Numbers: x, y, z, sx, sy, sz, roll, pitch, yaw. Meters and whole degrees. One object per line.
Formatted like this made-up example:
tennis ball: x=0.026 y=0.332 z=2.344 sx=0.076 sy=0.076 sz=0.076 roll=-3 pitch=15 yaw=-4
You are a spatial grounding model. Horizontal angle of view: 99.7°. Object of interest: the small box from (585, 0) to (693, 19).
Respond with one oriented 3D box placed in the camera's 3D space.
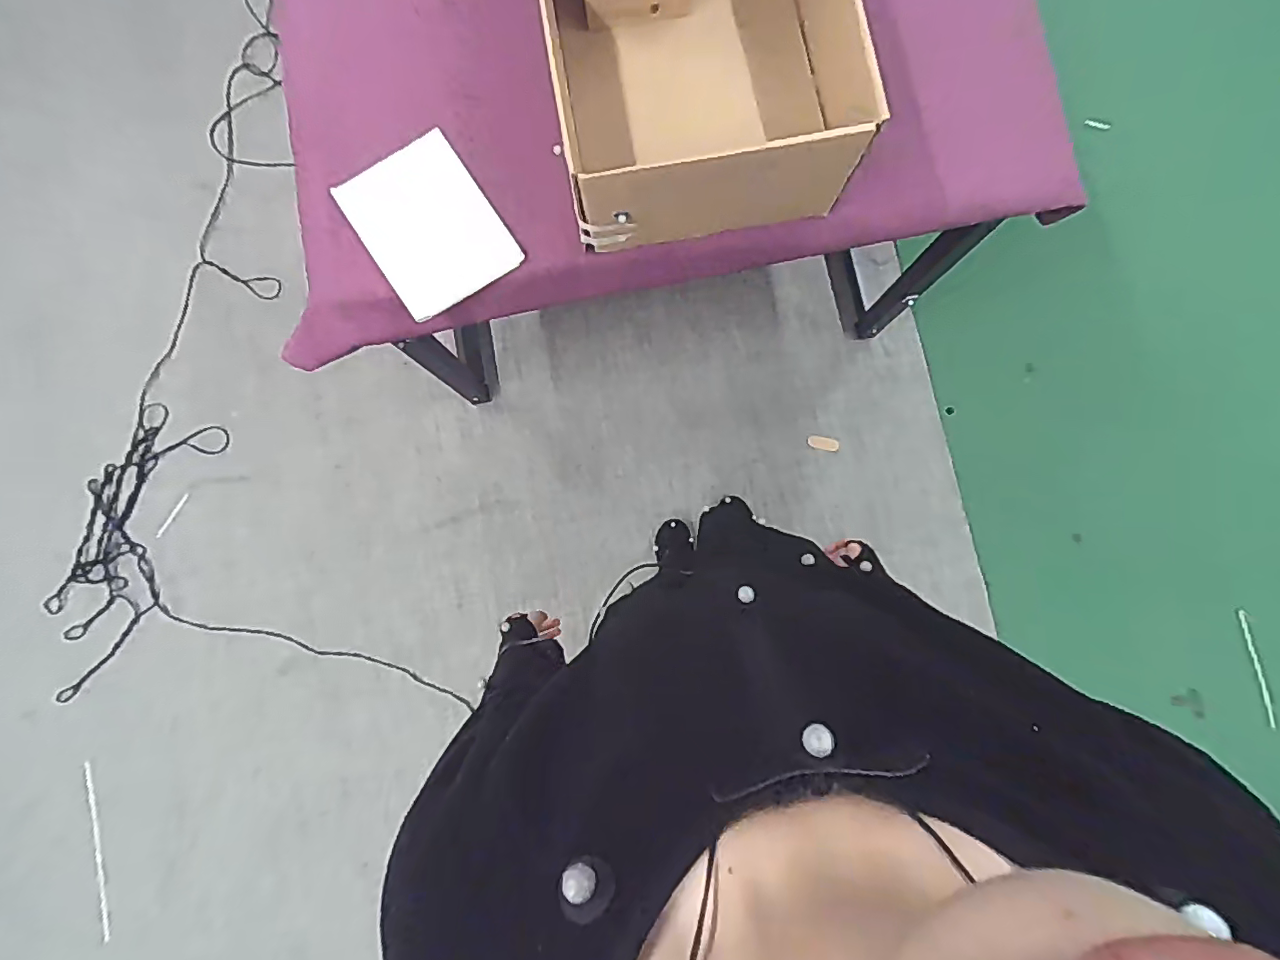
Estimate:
small box: x=-0.010 y=-0.794 z=0.755 sx=0.168 sy=0.176 sz=0.179 roll=-9 pitch=86 yaw=0
